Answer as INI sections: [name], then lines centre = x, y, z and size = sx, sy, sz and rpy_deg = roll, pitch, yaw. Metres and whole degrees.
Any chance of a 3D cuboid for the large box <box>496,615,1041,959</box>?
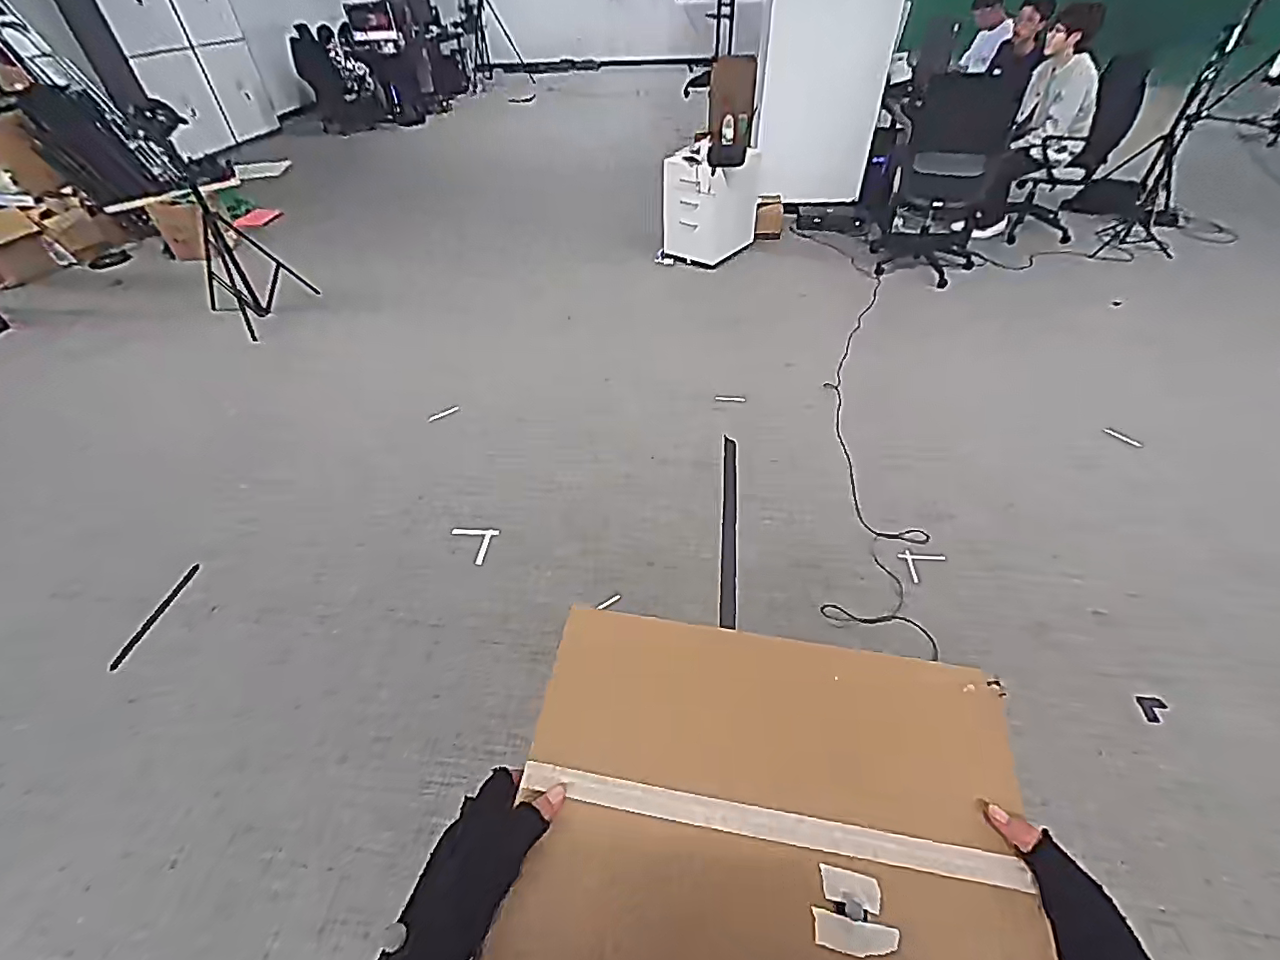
[large box]
centre = 0.112, 0.370, 0.570
size = 0.408, 0.320, 0.320
rpy_deg = 7, 55, 8
